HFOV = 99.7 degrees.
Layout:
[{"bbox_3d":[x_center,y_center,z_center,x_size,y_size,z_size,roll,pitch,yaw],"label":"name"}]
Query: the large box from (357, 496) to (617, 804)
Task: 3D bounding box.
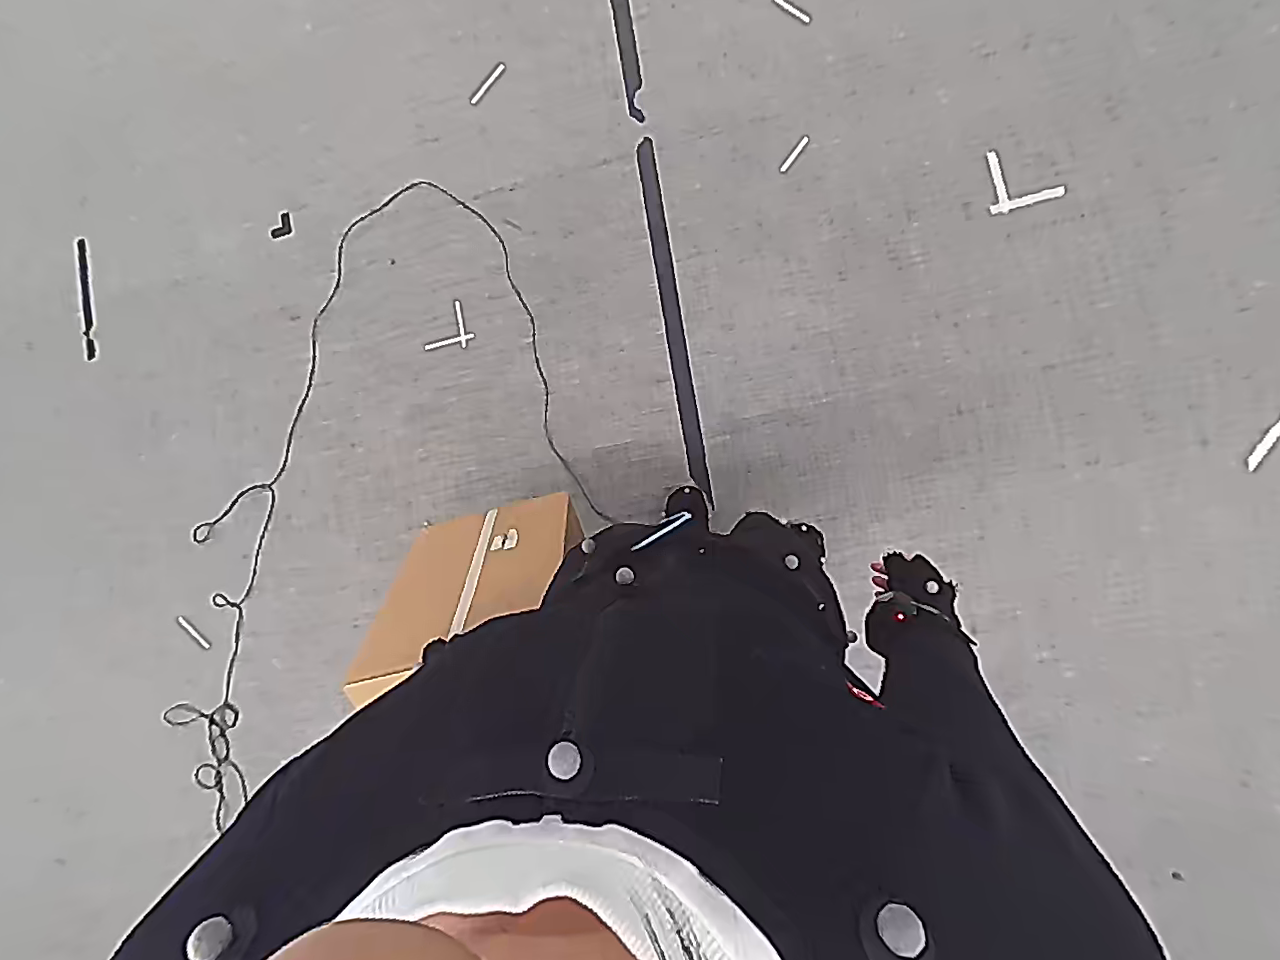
[{"bbox_3d":[-0.235,0.287,0.992,0.320,0.408,0.320,-13,117,2],"label":"large box"}]
